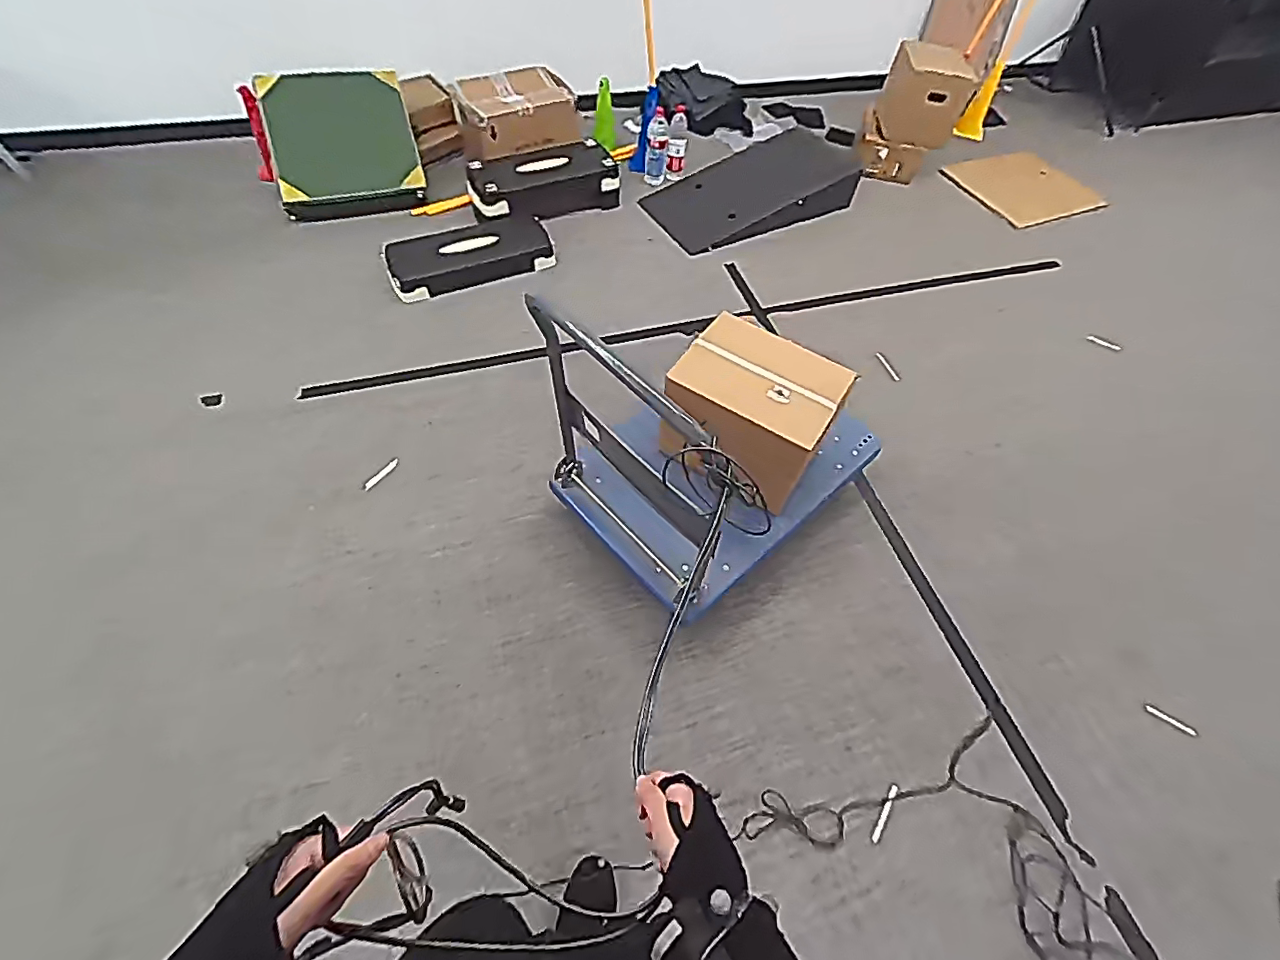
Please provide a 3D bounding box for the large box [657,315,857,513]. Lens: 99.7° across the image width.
[{"bbox_3d":[0.304,-0.180,1.492,0.408,0.320,0.320,31,61,15],"label":"large box"}]
